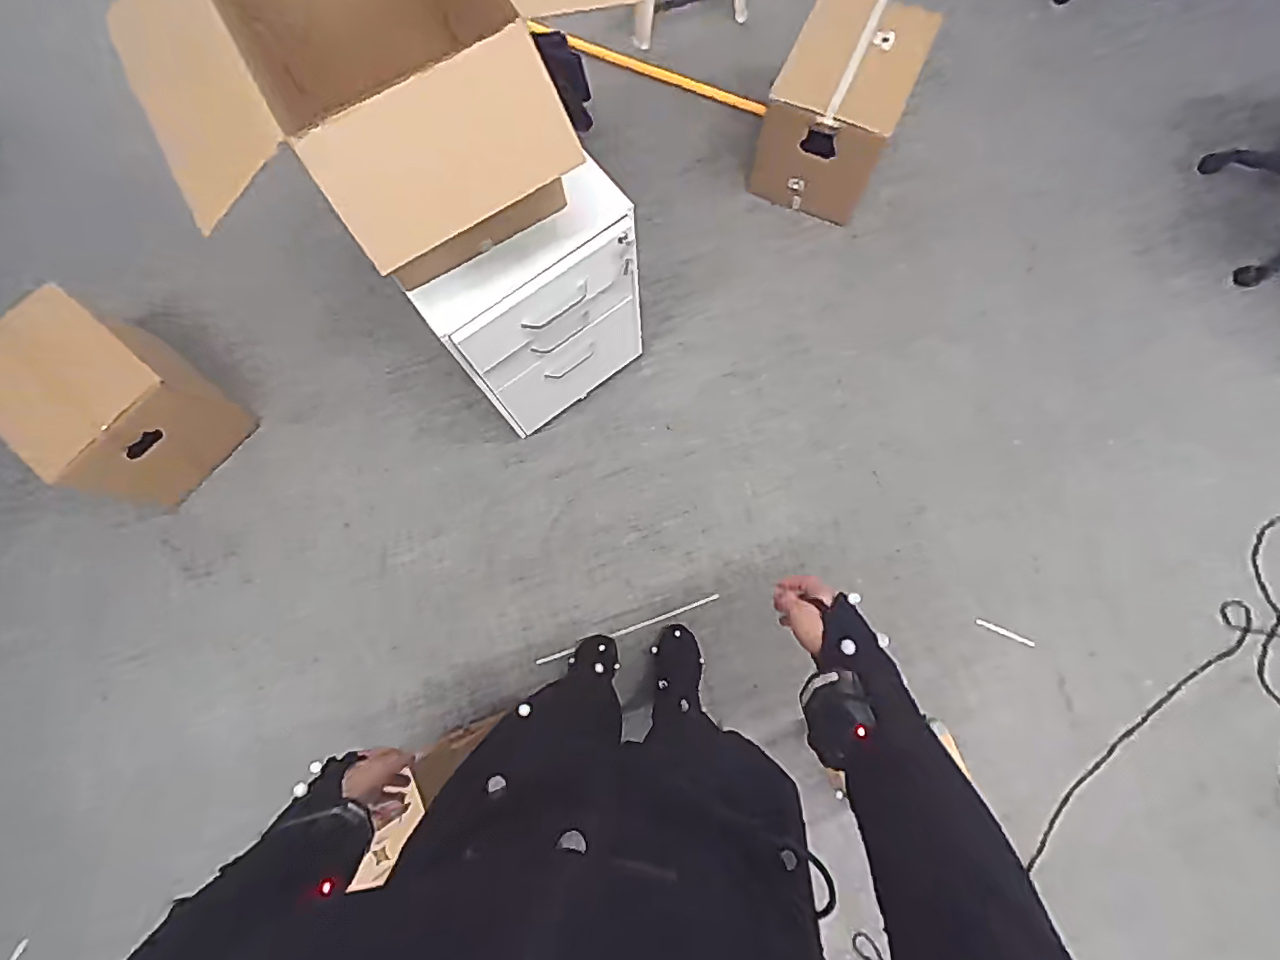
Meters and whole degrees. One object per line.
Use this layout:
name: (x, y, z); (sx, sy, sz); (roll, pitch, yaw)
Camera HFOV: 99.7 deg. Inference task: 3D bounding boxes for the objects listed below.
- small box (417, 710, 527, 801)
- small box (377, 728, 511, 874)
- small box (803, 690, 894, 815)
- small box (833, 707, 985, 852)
small box: (-0.366, 0.639, 1.216); (0.179, 0.176, 0.168); (-21, 77, -2)
small box: (-0.369, 0.611, 1.056); (0.179, 0.176, 0.168); (-25, 76, -2)
small box: (0.484, 0.587, 1.187); (0.168, 0.176, 0.179); (-22, 78, -3)
small box: (0.495, 0.550, 1.026); (0.168, 0.176, 0.179); (-21, 79, -2)
